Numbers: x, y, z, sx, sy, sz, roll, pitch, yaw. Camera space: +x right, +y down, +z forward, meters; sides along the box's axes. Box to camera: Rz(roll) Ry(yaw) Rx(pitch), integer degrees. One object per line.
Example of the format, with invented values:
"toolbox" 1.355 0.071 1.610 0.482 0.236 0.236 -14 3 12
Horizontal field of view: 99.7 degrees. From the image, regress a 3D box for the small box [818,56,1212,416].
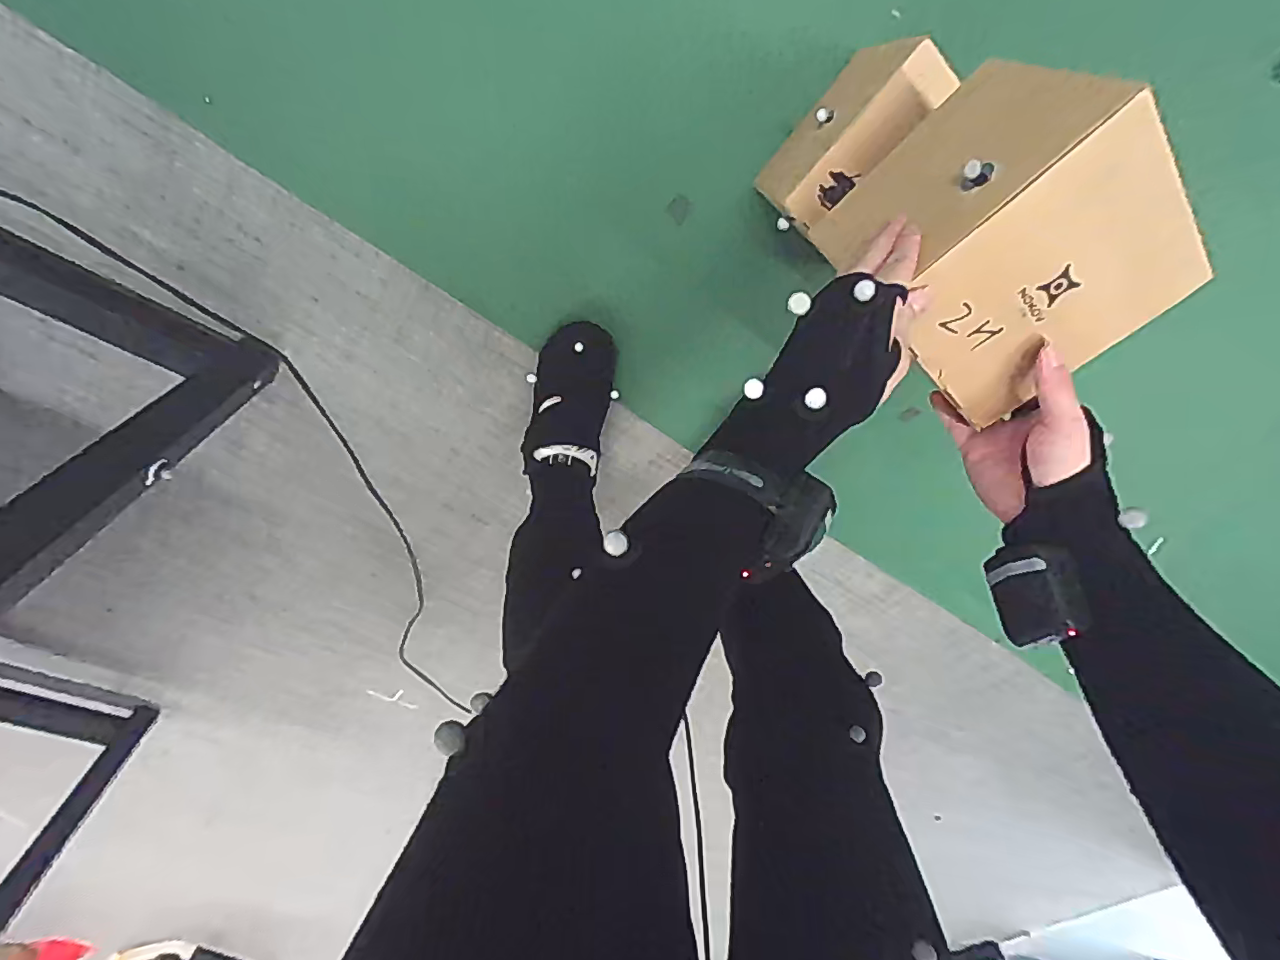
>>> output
"small box" 0.277 -0.194 0.434 0.168 0.176 0.179 33 123 -29
